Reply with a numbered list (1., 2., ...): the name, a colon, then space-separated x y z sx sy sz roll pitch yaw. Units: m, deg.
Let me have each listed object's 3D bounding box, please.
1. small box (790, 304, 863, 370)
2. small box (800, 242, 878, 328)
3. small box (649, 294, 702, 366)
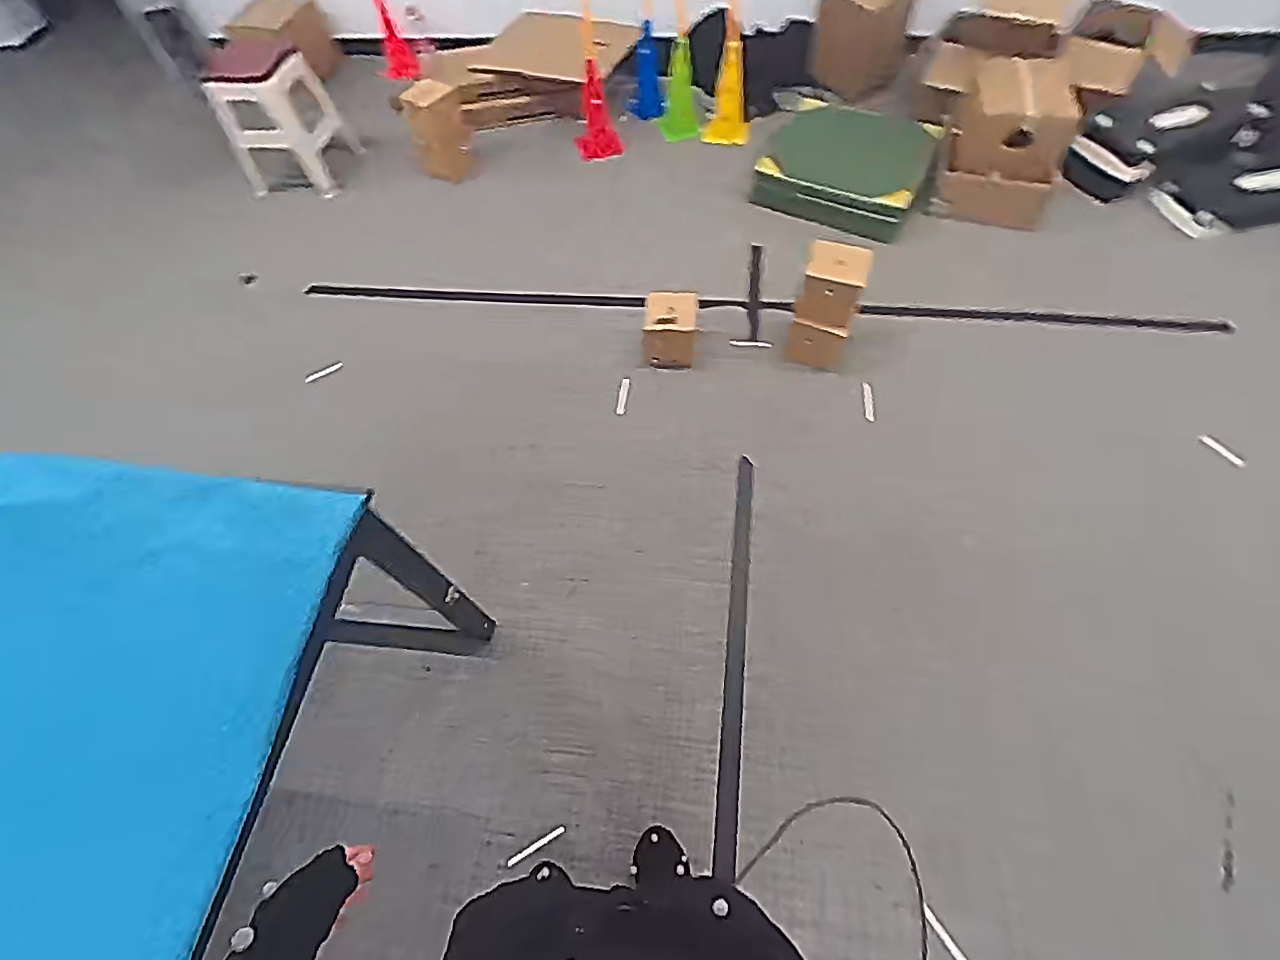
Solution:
1. small box: 0.617 -0.494 1.805 0.179 0.176 0.168 20 63 13
2. small box: 0.610 -0.600 1.676 0.179 0.176 0.168 18 63 12
3. small box: 0.124 -0.507 1.840 0.168 0.176 0.179 4 60 6
